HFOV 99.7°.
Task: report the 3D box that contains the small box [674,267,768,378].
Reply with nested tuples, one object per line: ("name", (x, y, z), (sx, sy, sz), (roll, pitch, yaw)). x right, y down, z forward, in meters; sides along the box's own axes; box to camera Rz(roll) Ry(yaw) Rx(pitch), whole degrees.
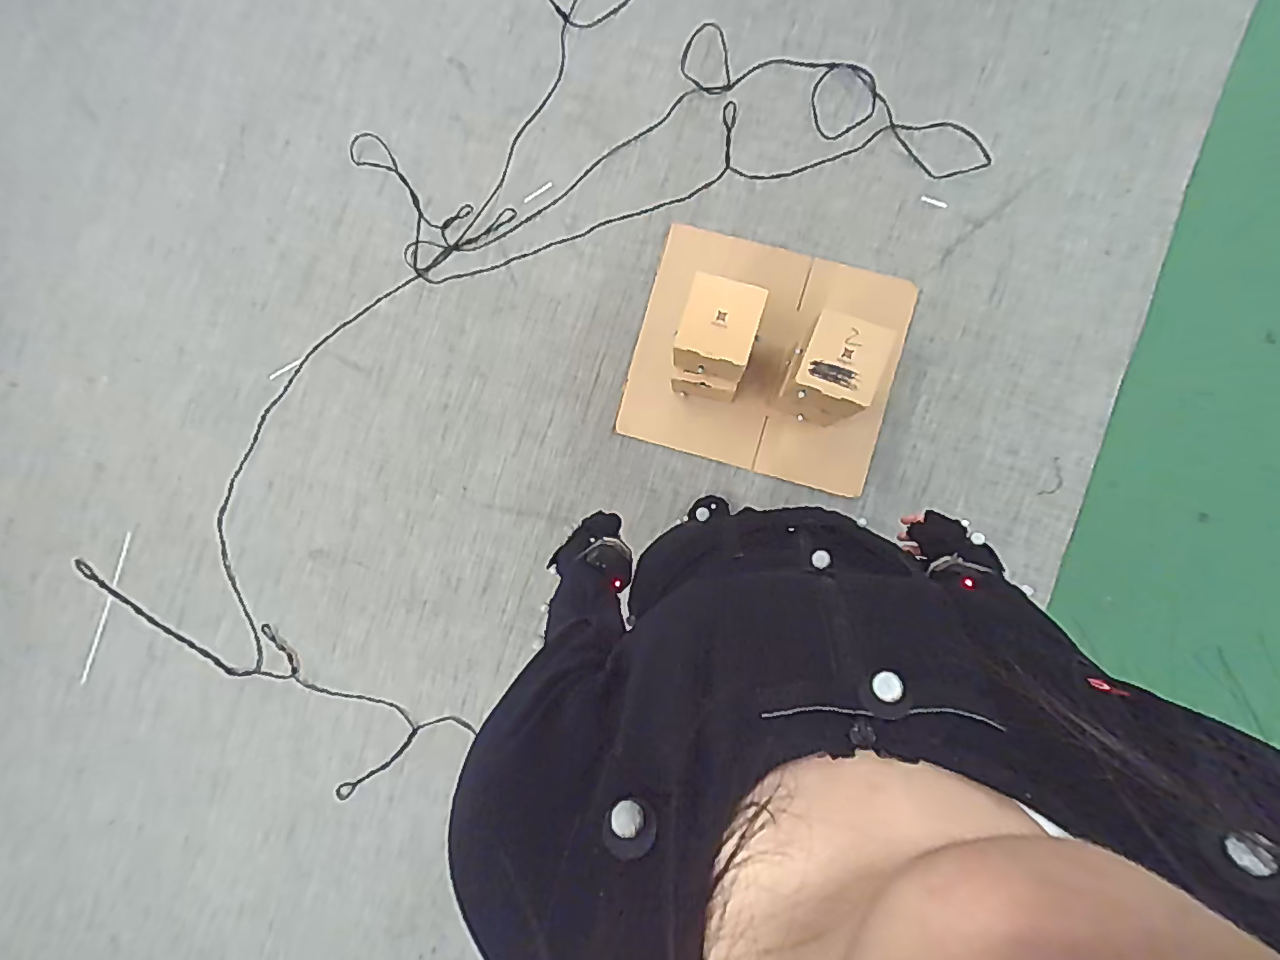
("small box", (0.178, -0.352, 1.239), (0.168, 0.176, 0.179), (17, 90, 4))

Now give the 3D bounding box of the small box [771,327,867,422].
("small box", (0.449, -0.262, 1.383), (0.168, 0.176, 0.179), (21, 91, 5))

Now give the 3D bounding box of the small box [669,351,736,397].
("small box", (0.178, -0.324, 1.402), (0.168, 0.176, 0.179), (14, 90, 4))
